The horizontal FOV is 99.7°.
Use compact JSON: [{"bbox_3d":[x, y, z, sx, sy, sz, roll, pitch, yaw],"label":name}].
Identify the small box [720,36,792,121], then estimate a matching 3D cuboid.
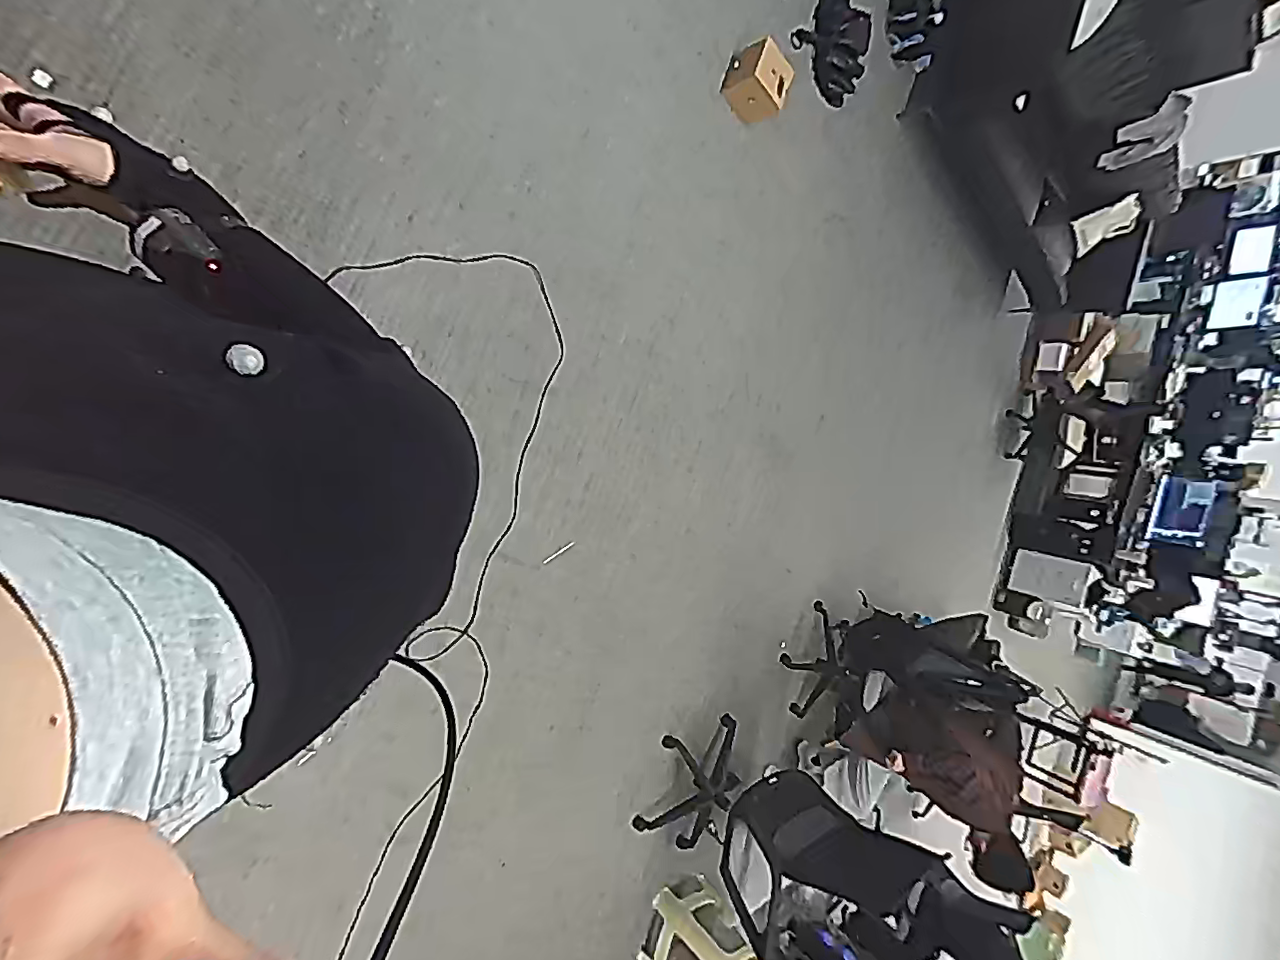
[{"bbox_3d":[0.433,-1.493,2.030,0.179,0.176,0.168,23,84,-39],"label":"small box"}]
